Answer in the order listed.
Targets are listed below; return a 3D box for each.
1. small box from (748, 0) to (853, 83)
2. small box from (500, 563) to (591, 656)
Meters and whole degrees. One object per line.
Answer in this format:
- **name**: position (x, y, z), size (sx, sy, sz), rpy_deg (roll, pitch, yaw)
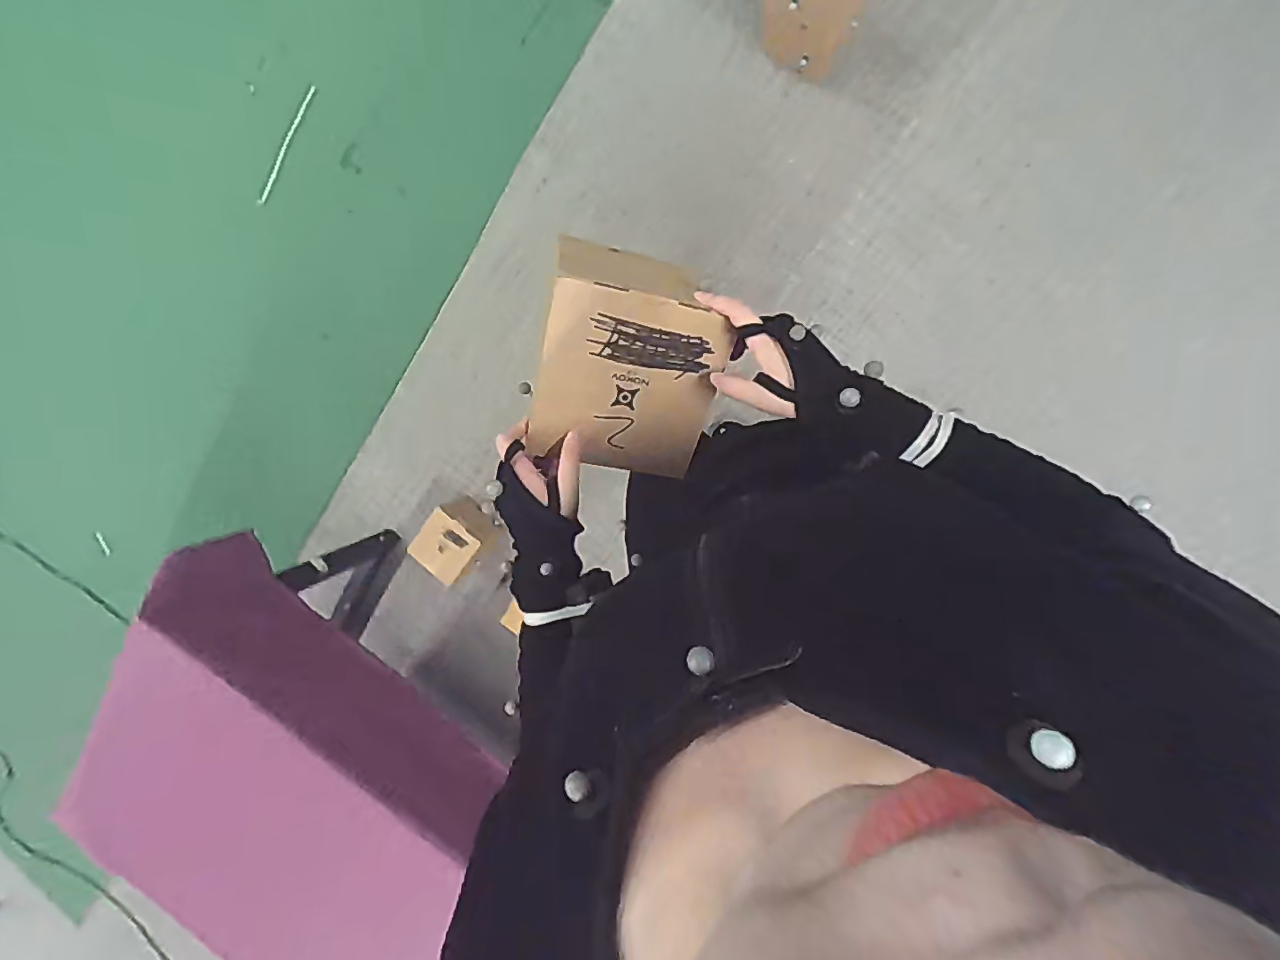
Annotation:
- **small box**: position (0.358, -1.034, 1.191), size (0.168, 0.176, 0.179), rpy_deg (35, 104, 3)
- **small box**: position (-0.266, 0.369, 1.577), size (0.179, 0.176, 0.168), rpy_deg (35, 105, 4)
